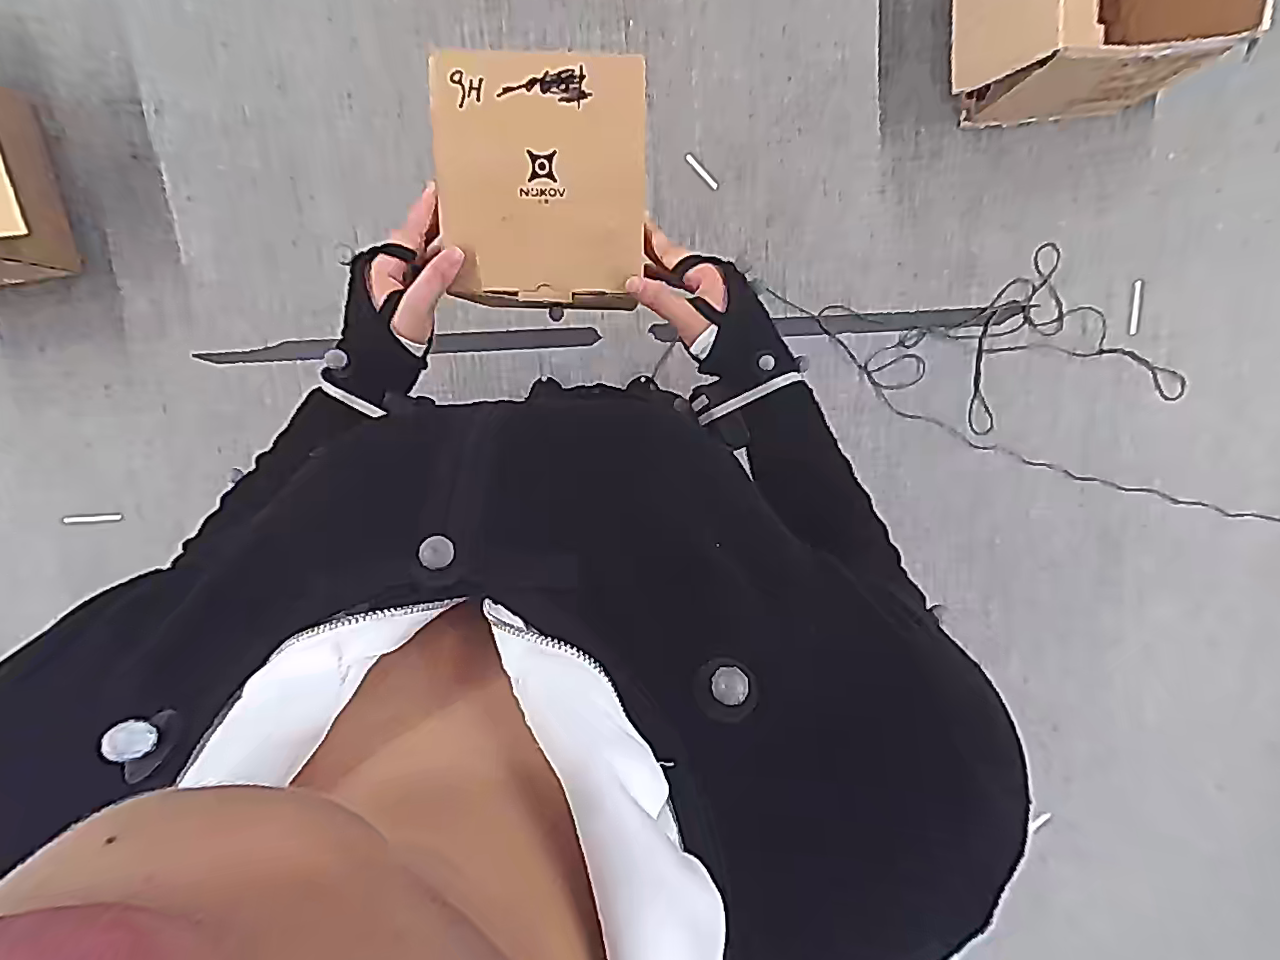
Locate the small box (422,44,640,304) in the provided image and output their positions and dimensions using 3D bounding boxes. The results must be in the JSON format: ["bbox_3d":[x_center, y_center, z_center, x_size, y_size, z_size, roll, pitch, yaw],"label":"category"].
[{"bbox_3d":[-0.086,-0.259,0.503,0.168,0.176,0.179,1,105,-3],"label":"small box"}]
